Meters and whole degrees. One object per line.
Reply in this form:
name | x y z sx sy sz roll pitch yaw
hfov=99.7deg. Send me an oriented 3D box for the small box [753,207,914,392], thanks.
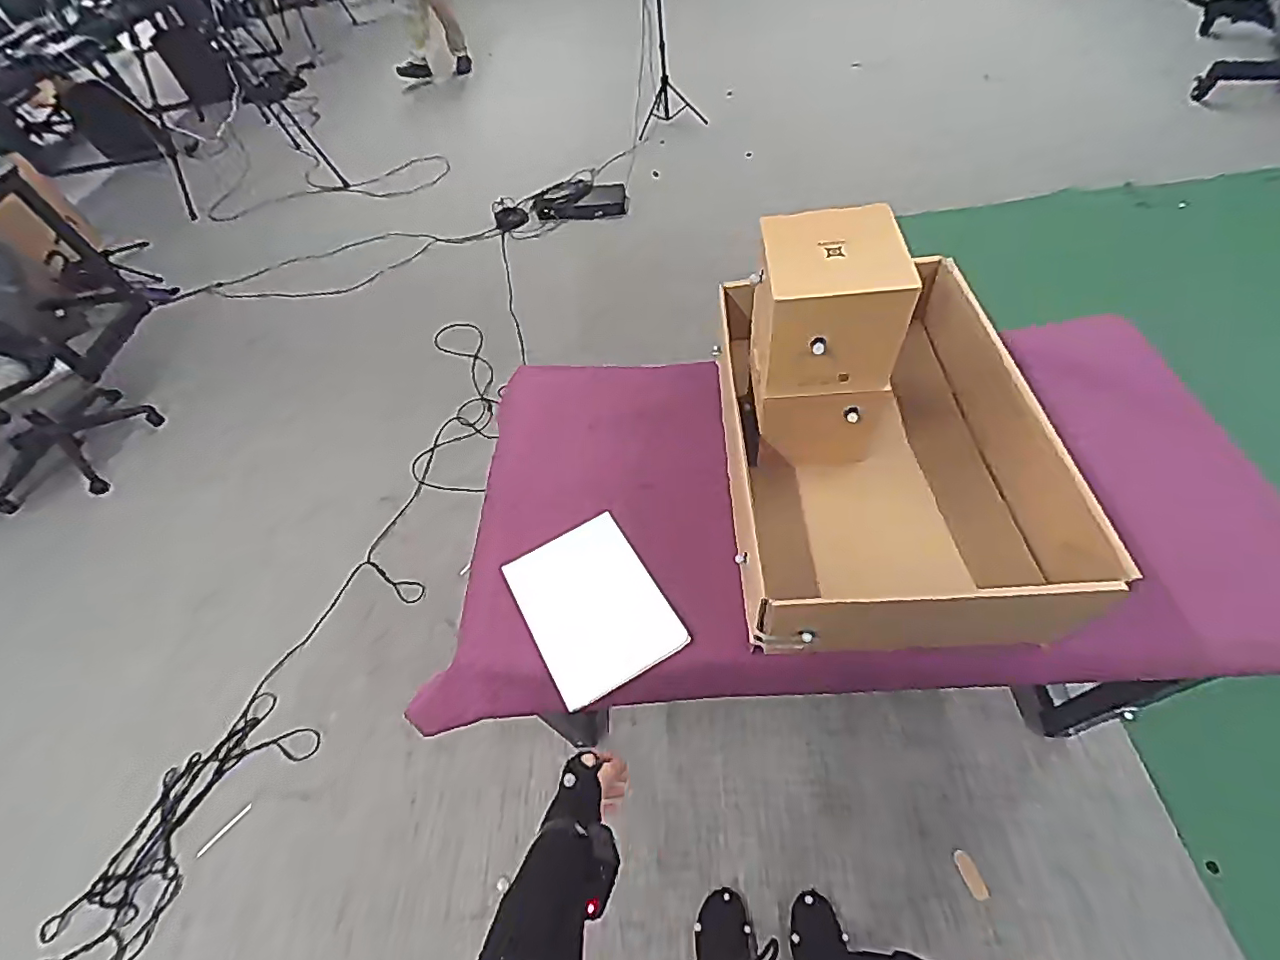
small box | 0.244 -0.233 0.728 0.168 0.176 0.179 -3 54 7
